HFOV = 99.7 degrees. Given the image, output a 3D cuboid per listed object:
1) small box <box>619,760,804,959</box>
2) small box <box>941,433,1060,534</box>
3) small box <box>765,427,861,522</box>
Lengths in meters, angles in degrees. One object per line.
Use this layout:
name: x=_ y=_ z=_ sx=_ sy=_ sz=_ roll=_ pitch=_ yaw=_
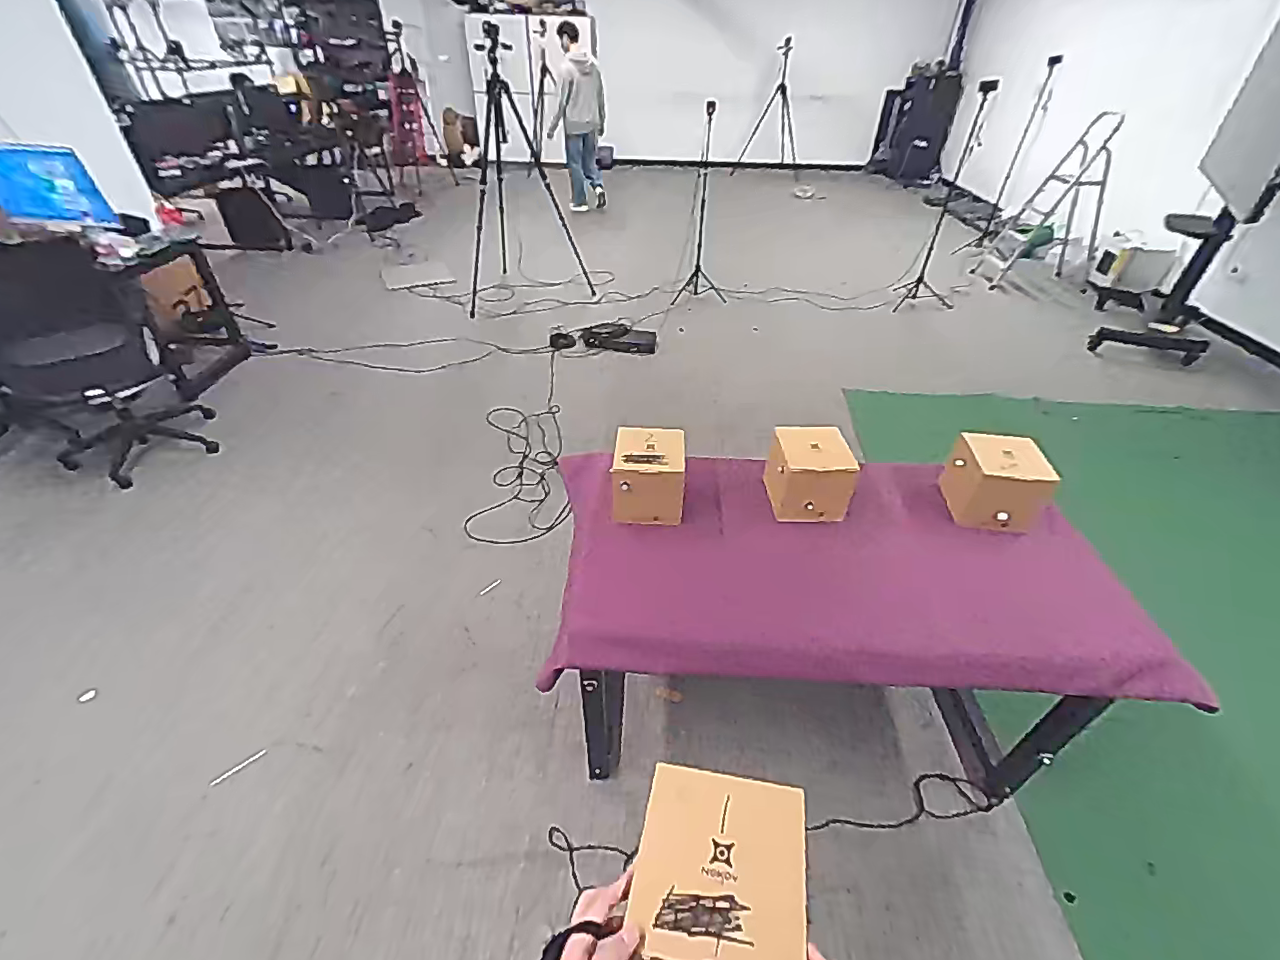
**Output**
small box: x=0.085 y=0.442 z=0.581 sx=0.168 sy=0.176 sz=0.179 roll=4 pitch=35 yaw=13
small box: x=0.872 y=0.007 z=1.332 sx=0.168 sy=0.176 sz=0.179 roll=6 pitch=40 yaw=7
small box: x=0.420 y=-0.015 z=1.349 sx=0.168 sy=0.176 sz=0.179 roll=0 pitch=41 yaw=-3
